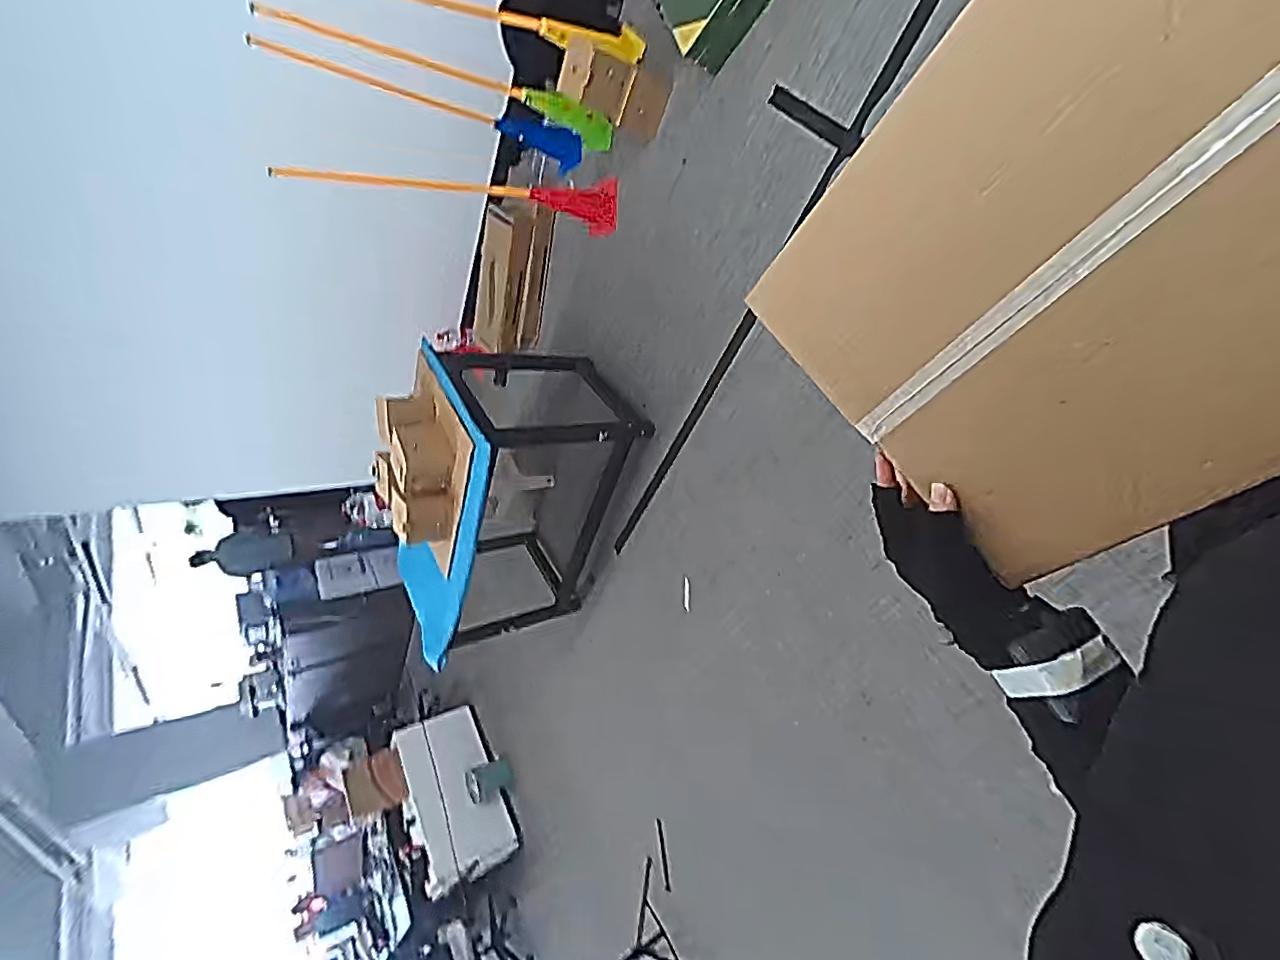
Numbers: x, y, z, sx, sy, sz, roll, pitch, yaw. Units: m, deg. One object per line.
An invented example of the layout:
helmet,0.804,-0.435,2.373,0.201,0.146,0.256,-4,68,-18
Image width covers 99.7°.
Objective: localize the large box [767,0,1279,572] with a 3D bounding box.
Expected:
large box,0.385,-0.198,0.410,0.320,0.320,0.408,53,137,13
